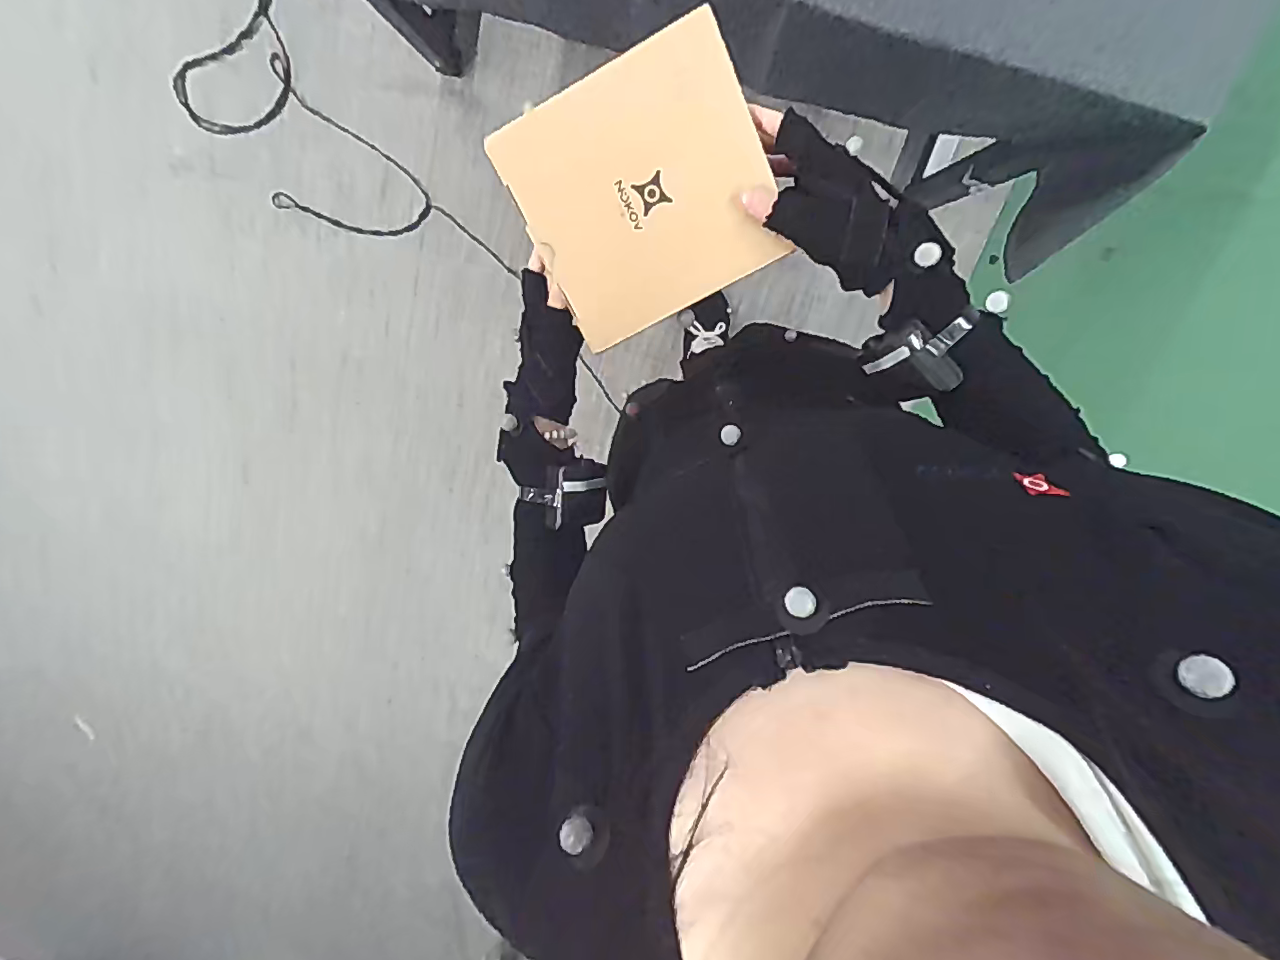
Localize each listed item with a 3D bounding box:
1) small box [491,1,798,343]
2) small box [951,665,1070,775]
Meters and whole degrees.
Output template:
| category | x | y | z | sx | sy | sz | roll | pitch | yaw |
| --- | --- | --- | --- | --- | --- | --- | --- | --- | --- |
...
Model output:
| category | x | y | z | sx | sy | sz | roll | pitch | yaw |
| --- | --- | --- | --- | --- | --- | --- | --- | --- | --- |
| small box | 0.005 | -0.239 | 0.463 | 0.179 | 0.176 | 0.168 | -26 | 109 | 9 |
| small box | 0.950 | 0.620 | 1.411 | 0.168 | 0.176 | 0.179 | 16 | 109 | -2 |
